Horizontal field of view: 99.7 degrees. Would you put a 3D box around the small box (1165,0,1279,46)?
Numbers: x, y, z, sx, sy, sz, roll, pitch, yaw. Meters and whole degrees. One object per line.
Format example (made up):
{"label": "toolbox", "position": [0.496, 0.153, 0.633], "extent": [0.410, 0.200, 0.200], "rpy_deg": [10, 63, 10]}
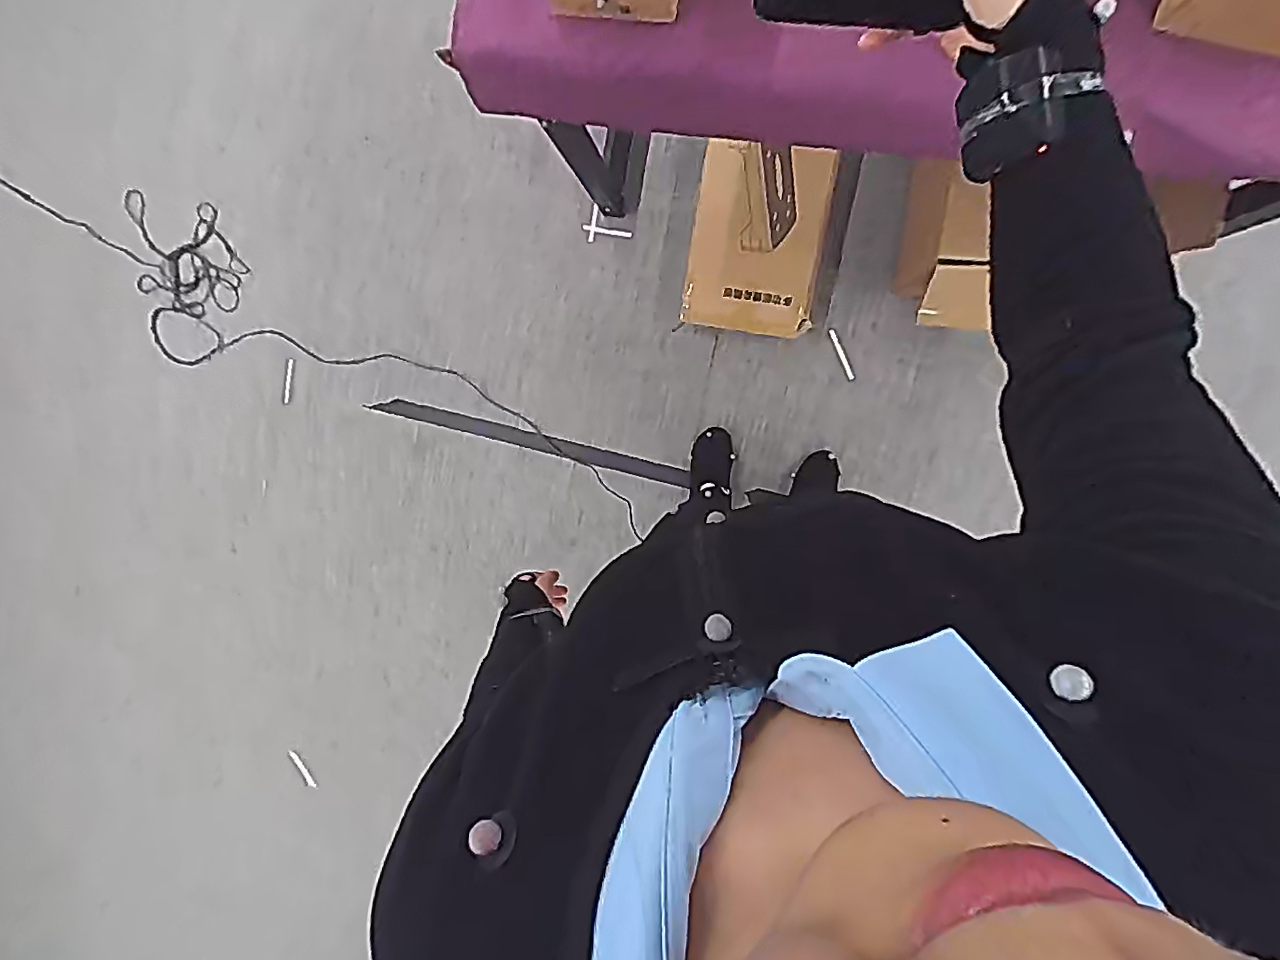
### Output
{"label": "small box", "position": [0.660, -0.547, 0.497], "extent": [0.179, 0.176, 0.168], "rpy_deg": [18, 100, 7]}
